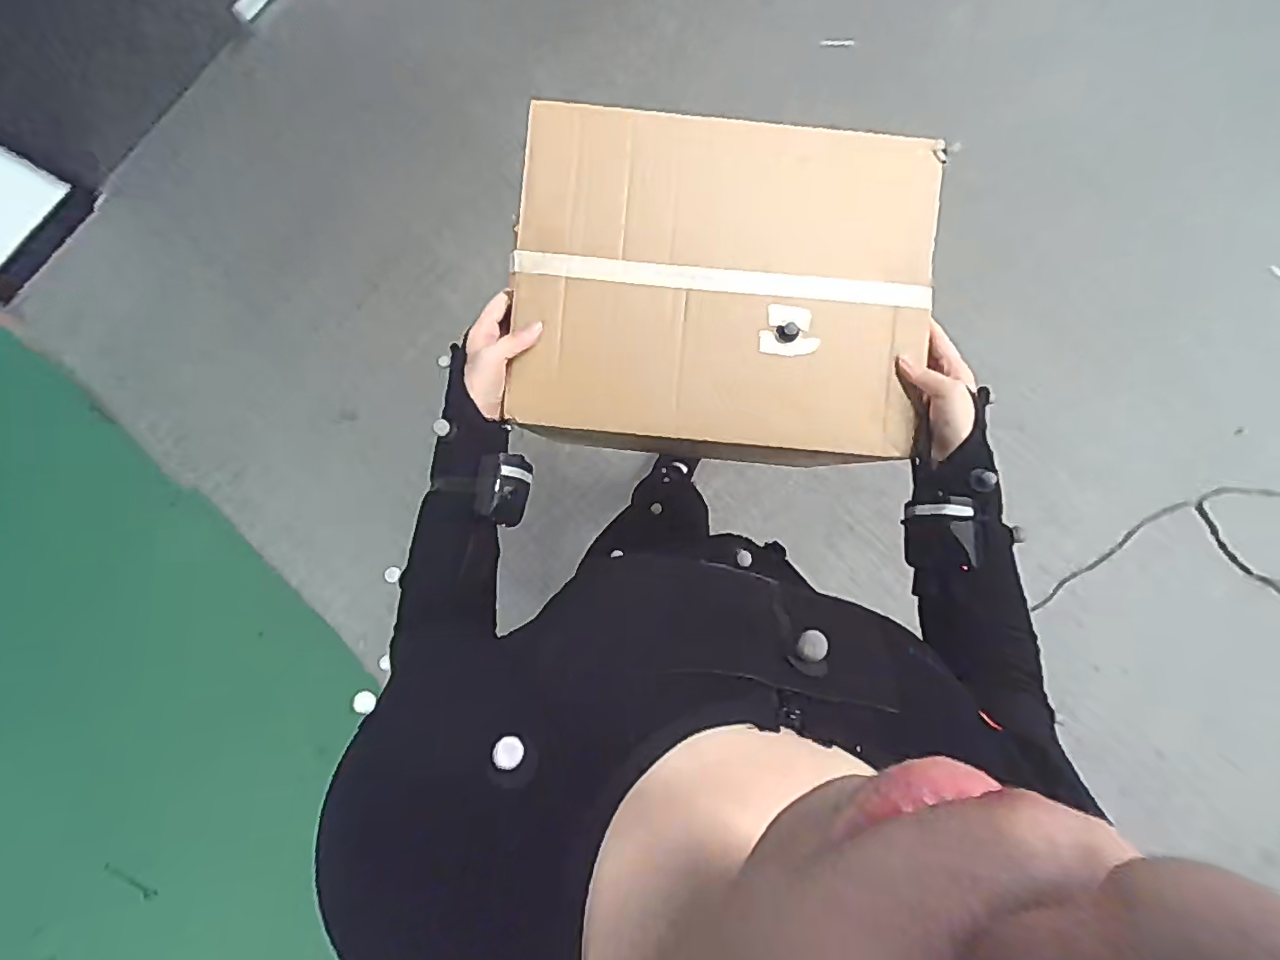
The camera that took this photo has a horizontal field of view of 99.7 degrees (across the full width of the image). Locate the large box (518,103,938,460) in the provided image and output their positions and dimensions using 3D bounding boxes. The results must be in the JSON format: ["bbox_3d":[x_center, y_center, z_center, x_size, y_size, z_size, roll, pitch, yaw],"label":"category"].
[{"bbox_3d":[0.083,-0.201,0.681,0.408,0.320,0.320,6,90,-2],"label":"large box"}]

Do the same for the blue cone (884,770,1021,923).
[{"bbox_3d":[0.738,0.846,1.222,0.192,0.380,0.193,-39,83,1],"label":"blue cone"}]
